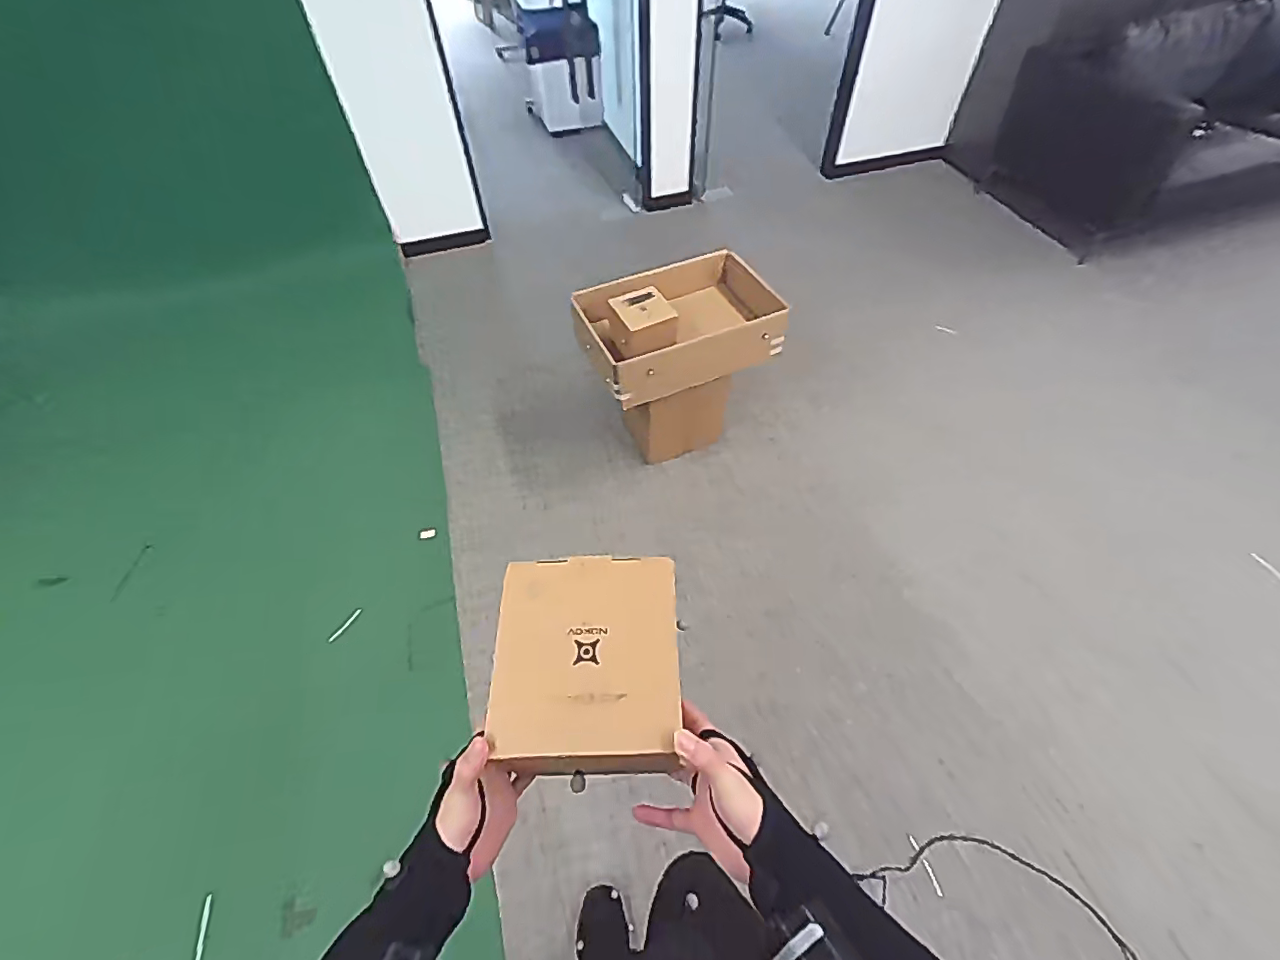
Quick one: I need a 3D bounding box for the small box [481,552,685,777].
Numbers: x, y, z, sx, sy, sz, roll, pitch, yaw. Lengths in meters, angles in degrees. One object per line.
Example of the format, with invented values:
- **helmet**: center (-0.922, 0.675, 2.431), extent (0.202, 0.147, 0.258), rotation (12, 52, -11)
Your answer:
- **small box**: center (-0.044, 0.186, 0.538), extent (0.168, 0.176, 0.179), rotation (0, 56, 1)
